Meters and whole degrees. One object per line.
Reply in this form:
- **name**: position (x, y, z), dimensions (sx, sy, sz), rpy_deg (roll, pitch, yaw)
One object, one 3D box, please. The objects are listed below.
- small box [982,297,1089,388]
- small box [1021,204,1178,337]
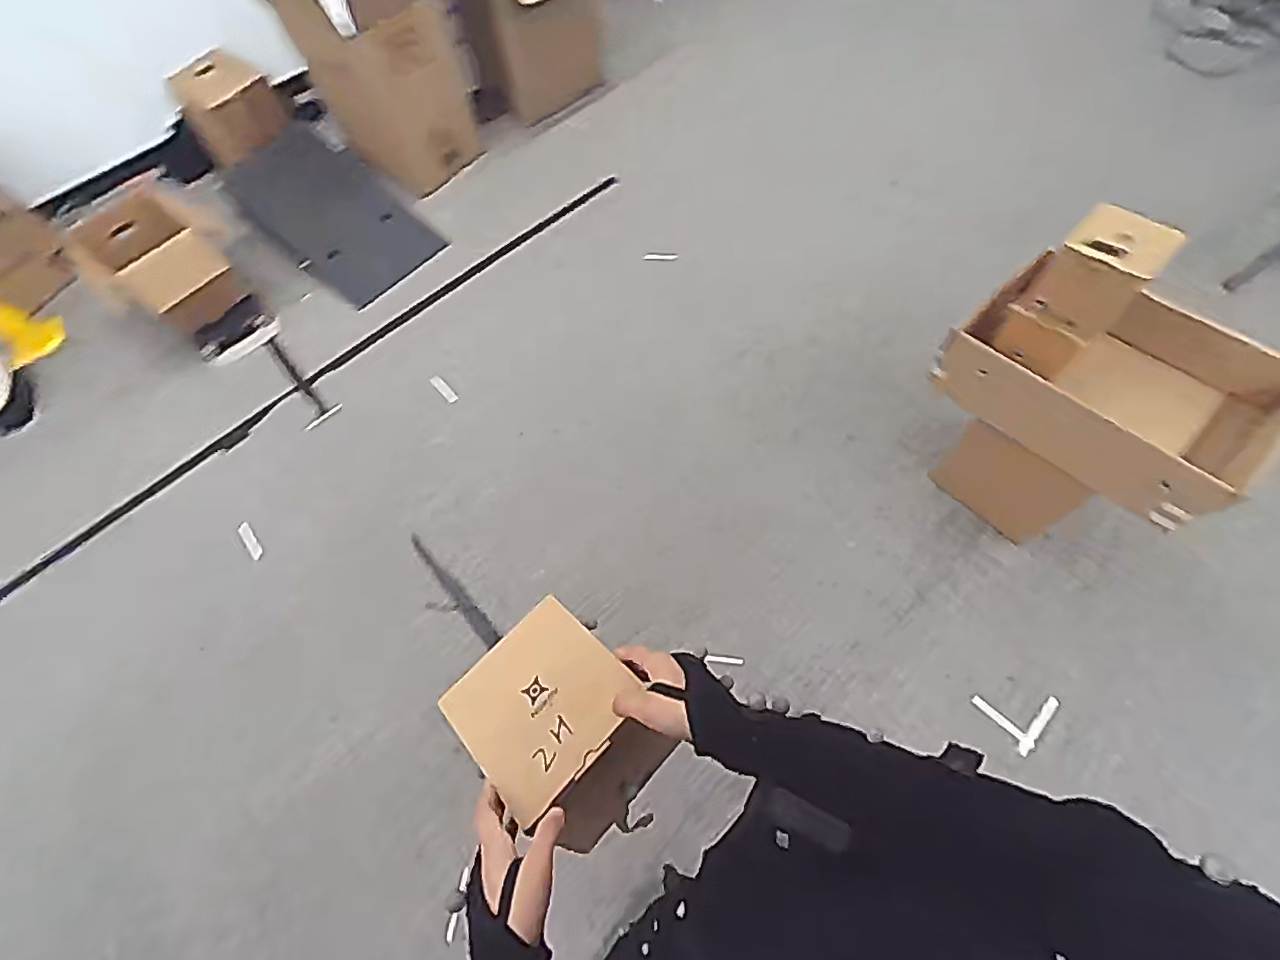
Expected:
- **small box**: position (0.966, -0.358, 1.294), dimensions (0.179, 0.176, 0.168), rpy_deg (-42, 66, -15)
- **small box**: position (0.960, -0.440, 1.152), dimensions (0.179, 0.176, 0.168), rpy_deg (-42, 66, -16)
